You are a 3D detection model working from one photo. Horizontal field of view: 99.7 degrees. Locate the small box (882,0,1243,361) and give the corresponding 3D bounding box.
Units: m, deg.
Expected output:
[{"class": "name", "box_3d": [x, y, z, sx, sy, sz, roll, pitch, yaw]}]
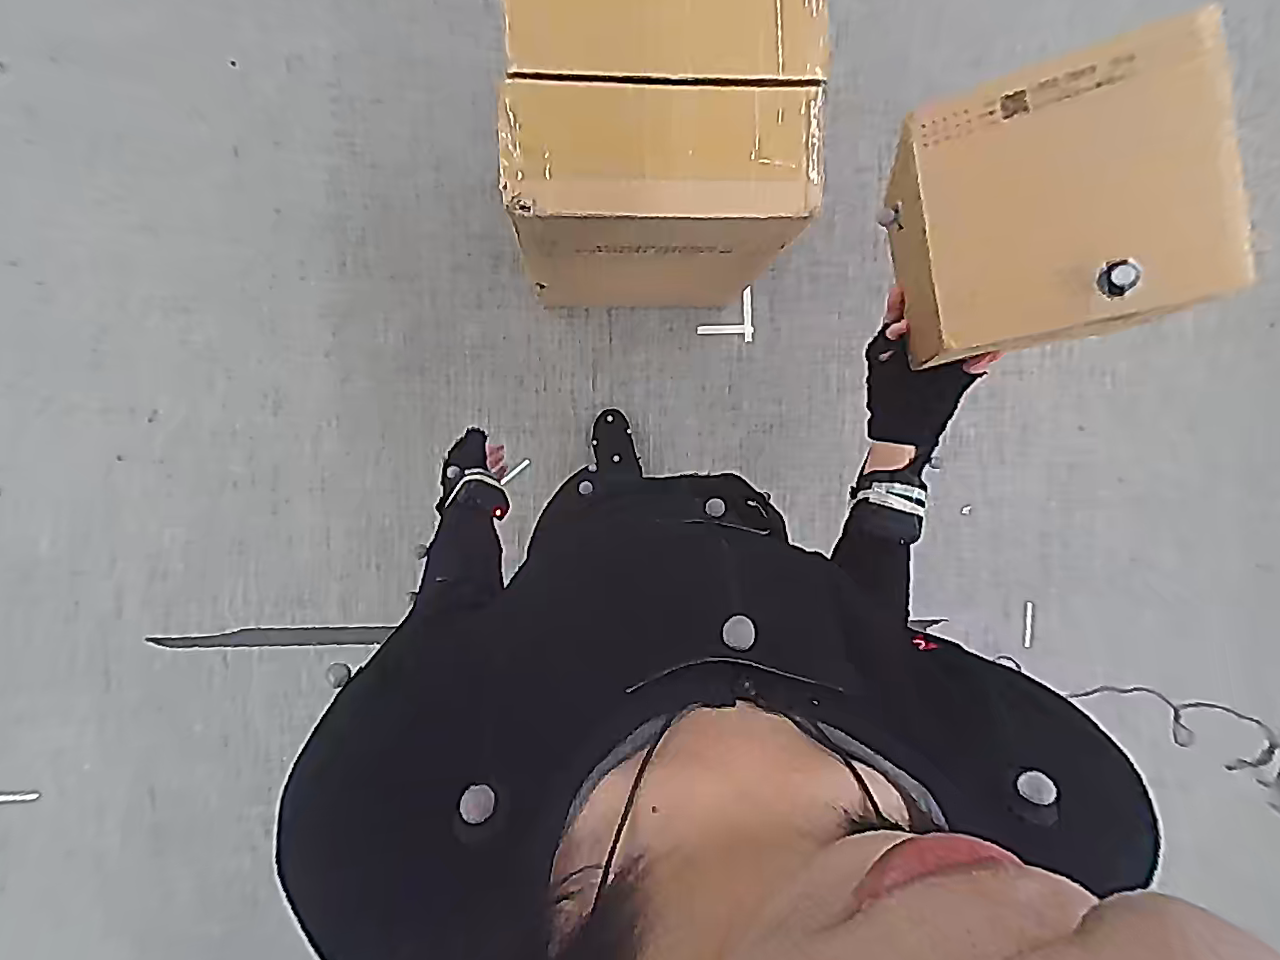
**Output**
[{"class": "small box", "box_3d": [0.293, -0.201, 0.418, 0.168, 0.179, 0.176, -11, 92, 20]}]
